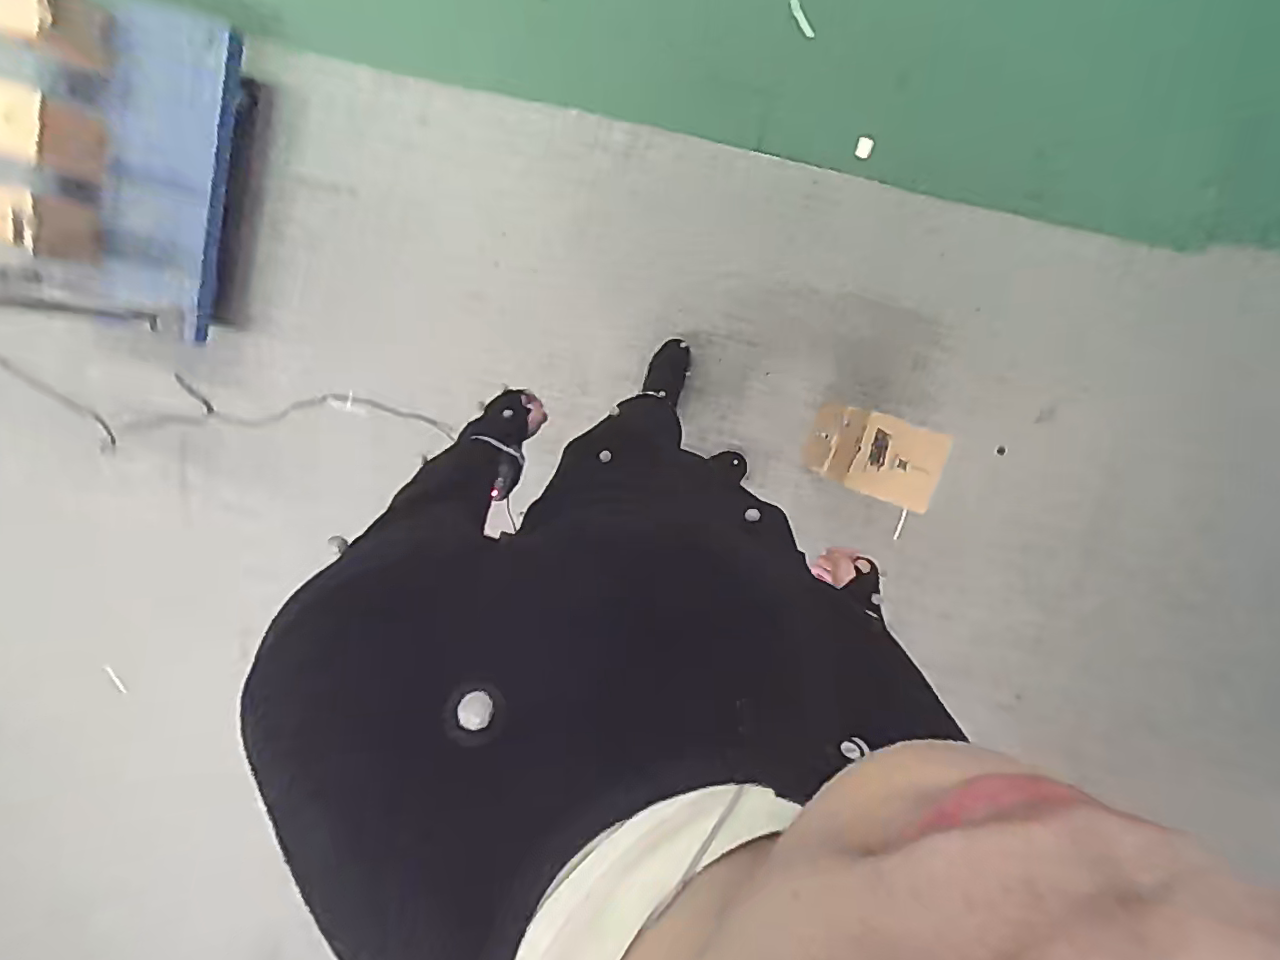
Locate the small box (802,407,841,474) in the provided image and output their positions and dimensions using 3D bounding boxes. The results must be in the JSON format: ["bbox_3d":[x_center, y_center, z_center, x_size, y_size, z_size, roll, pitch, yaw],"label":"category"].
[{"bbox_3d":[0.565,-0.093,1.492,0.168,0.176,0.179,21,100,4],"label":"small box"}]

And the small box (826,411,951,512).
[{"bbox_3d":[0.531,-0.046,1.186,0.179,0.176,0.168,20,100,4],"label":"small box"}]

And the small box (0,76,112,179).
[{"bbox_3d":[-1.574,-0.930,1.434,0.179,0.176,0.168,16,99,3],"label":"small box"}]

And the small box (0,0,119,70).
[{"bbox_3d":[-1.505,-1.197,1.383,0.179,0.176,0.168,16,101,4],"label":"small box"}]

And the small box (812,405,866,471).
[{"bbox_3d":[0.544,-0.077,1.331,0.179,0.176,0.168,21,100,5],"label":"small box"}]
